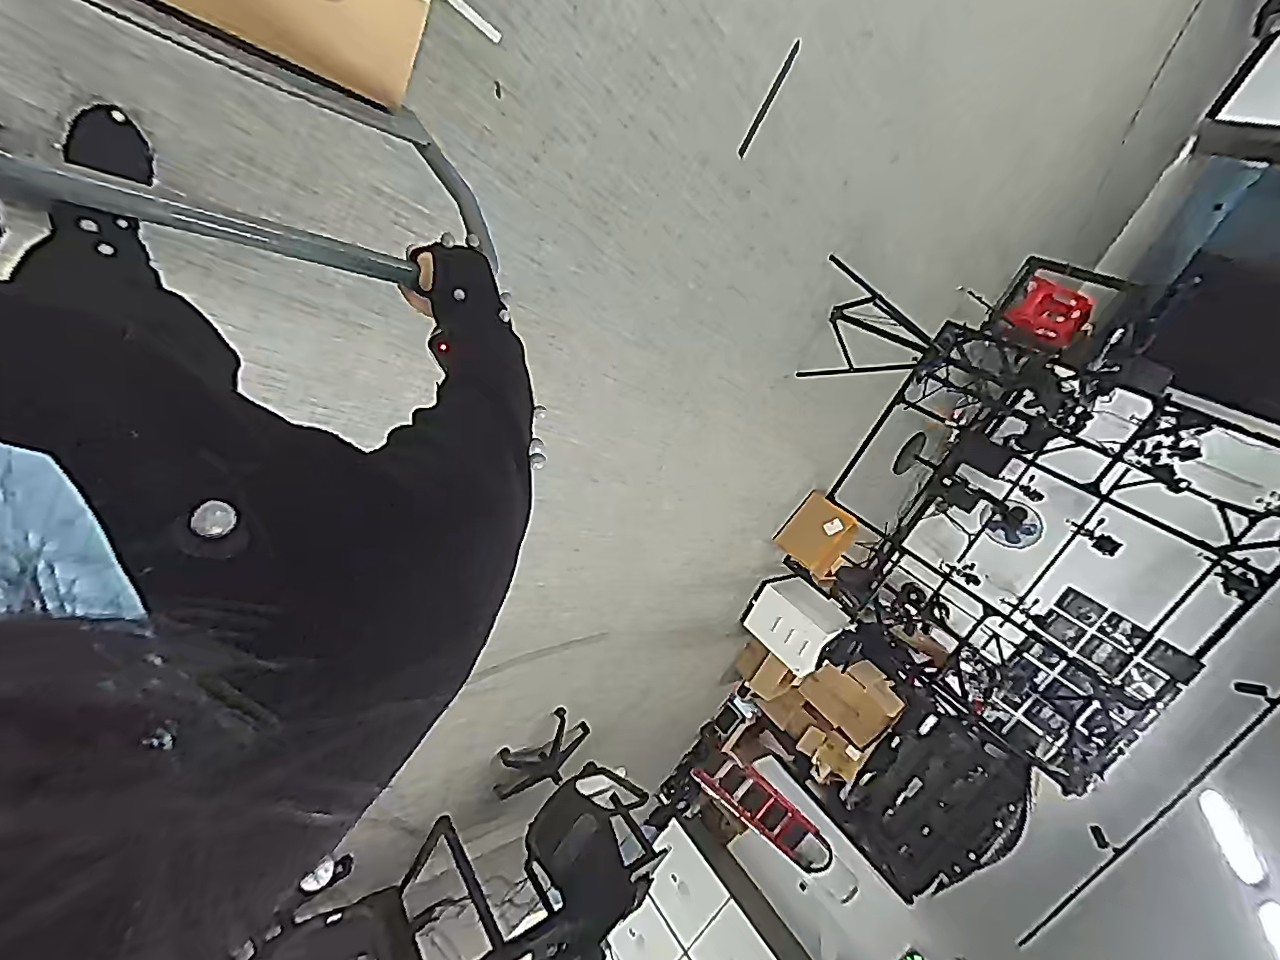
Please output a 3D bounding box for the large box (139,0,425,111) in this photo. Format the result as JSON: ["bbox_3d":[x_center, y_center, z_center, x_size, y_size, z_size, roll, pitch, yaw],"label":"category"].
[{"bbox_3d":[-0.513,-0.757,0.669,0.408,0.320,0.320,-3,136,-48],"label":"large box"}]
